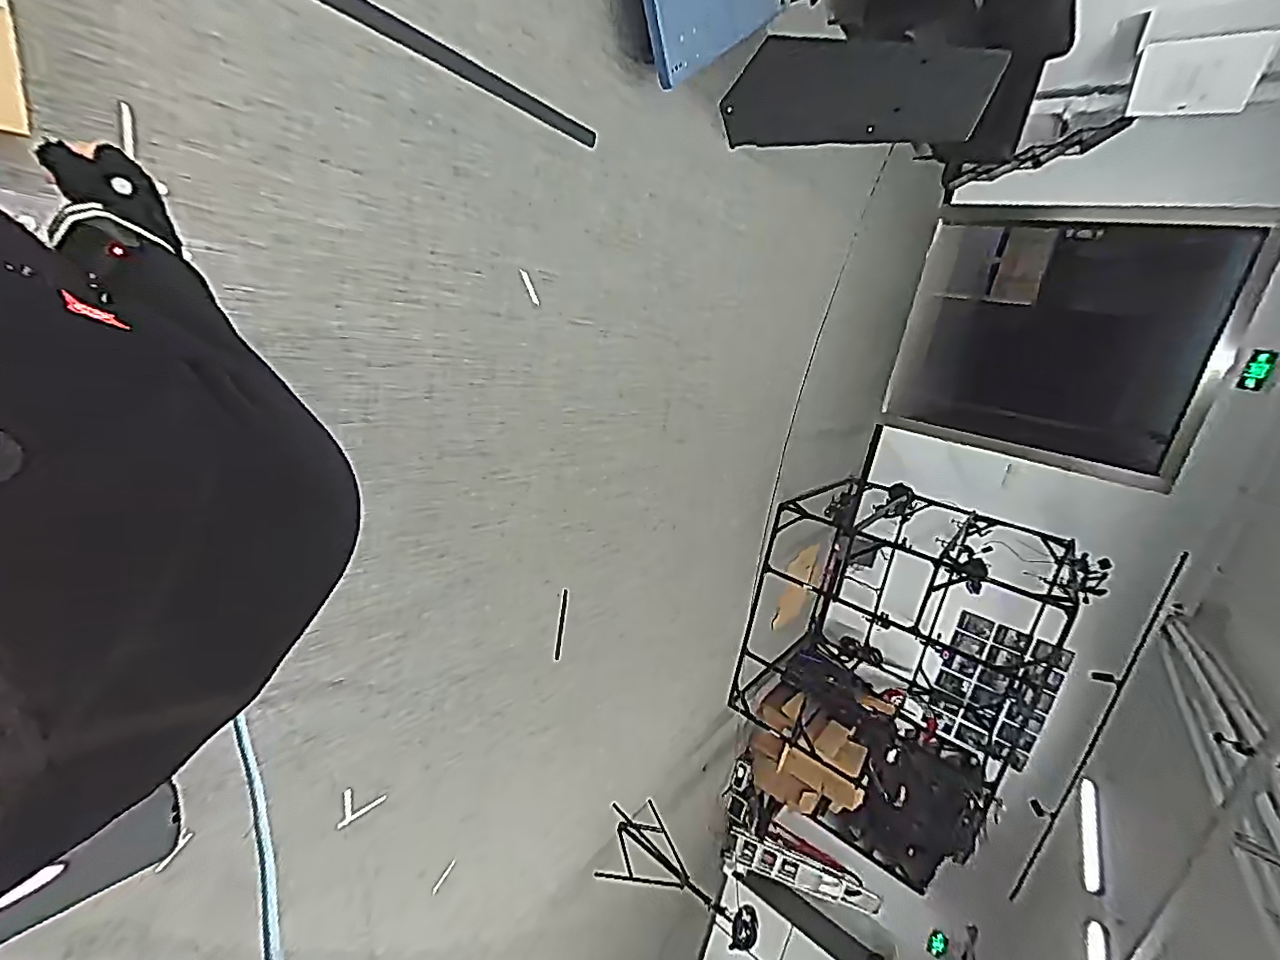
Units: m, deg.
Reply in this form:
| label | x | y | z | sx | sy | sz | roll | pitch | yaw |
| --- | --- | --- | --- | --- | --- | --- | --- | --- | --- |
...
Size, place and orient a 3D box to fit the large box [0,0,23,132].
| label | x | y | z | sx | sy | sz | roll | pitch | yaw |
| --- | --- | --- | --- | --- | --- | --- | --- | --- | --- |
| large box | -1.064 | -0.636 | 0.621 | 0.408 | 0.320 | 0.320 | -15 | 120 | -53 |
